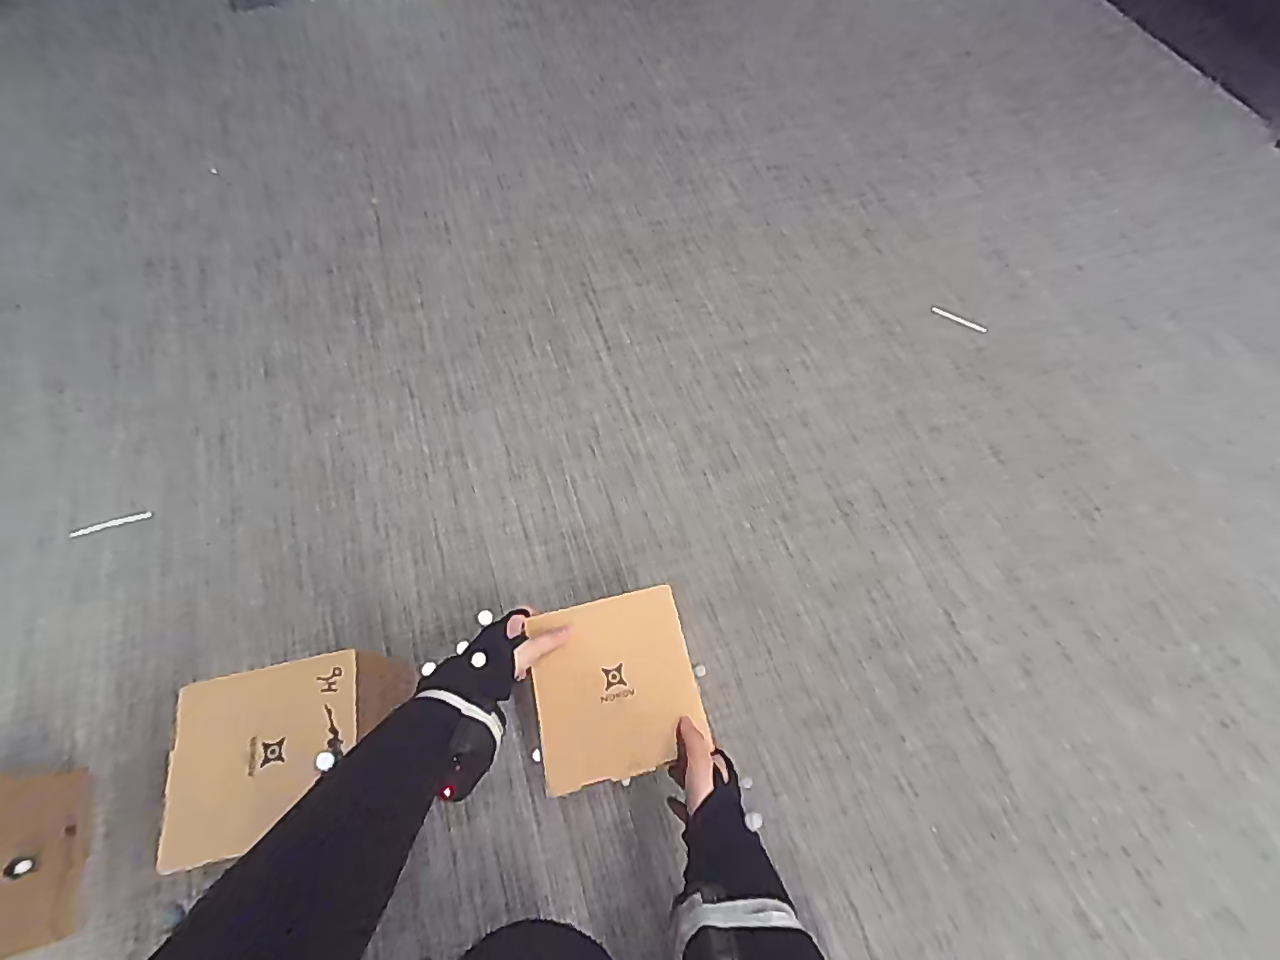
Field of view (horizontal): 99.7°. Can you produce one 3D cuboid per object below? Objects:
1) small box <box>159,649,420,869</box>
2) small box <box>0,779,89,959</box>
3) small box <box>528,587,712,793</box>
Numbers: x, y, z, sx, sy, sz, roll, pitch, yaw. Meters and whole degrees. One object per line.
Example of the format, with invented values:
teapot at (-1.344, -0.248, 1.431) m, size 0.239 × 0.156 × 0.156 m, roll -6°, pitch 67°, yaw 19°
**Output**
small box at (-0.363, 0.300, 0.597) m, size 0.179 × 0.176 × 0.168 m, roll -11°, pitch 64°, yaw -6°
small box at (-0.715, 0.411, 0.534) m, size 0.179 × 0.176 × 0.168 m, roll -16°, pitch 64°, yaw -9°
small box at (-0.027, 0.246, 0.632) m, size 0.168 × 0.176 × 0.179 m, roll -12°, pitch 65°, yaw -6°
